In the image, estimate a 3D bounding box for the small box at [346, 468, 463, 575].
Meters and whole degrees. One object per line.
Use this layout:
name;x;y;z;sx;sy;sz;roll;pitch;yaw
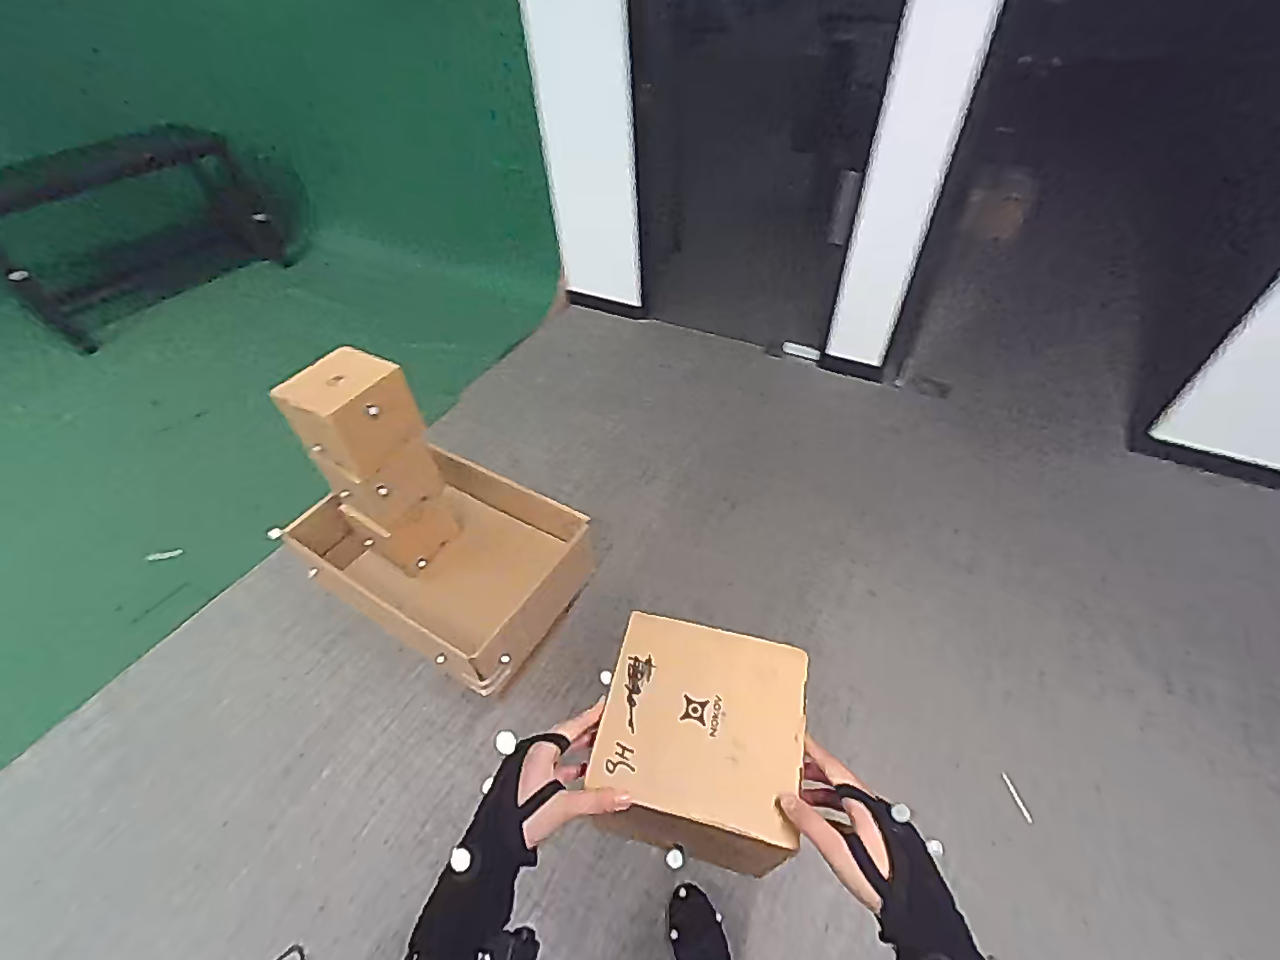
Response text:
small box;-0.568;0.108;1.327;0.179;0.176;0.168;24;52;24

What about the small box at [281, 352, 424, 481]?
small box;-0.569;-0.130;1.102;0.168;0.176;0.179;21;52;23

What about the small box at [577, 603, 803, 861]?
small box;0.049;0.251;0.533;0.179;0.176;0.168;11;47;8
